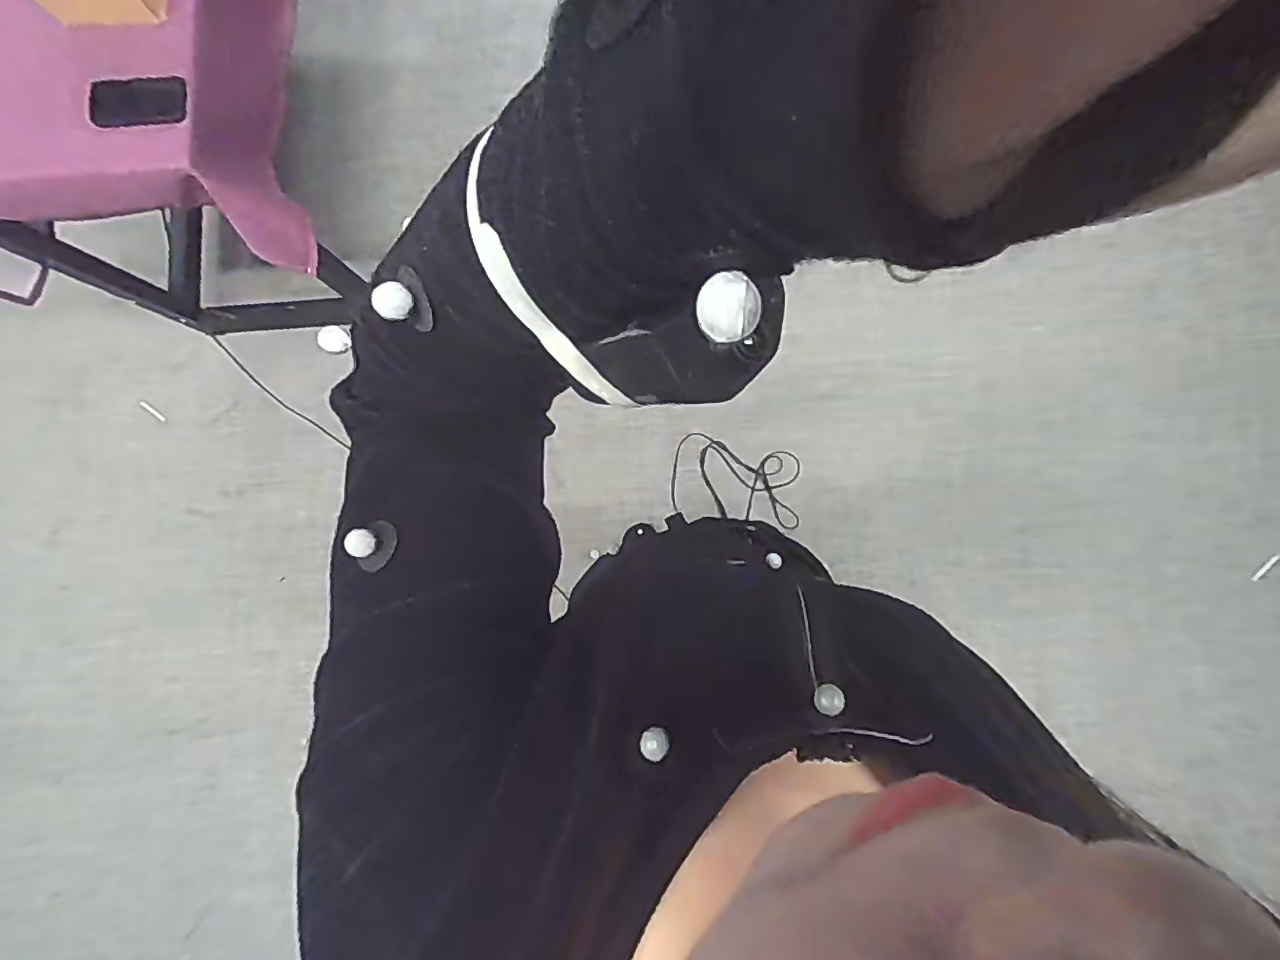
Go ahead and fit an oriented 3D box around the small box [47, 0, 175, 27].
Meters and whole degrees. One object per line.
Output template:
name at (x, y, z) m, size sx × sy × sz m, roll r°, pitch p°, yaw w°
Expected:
small box at (-0.862, -0.840, 0.827) m, size 0.179 × 0.176 × 0.168 m, roll 2°, pitch 85°, yaw 2°
